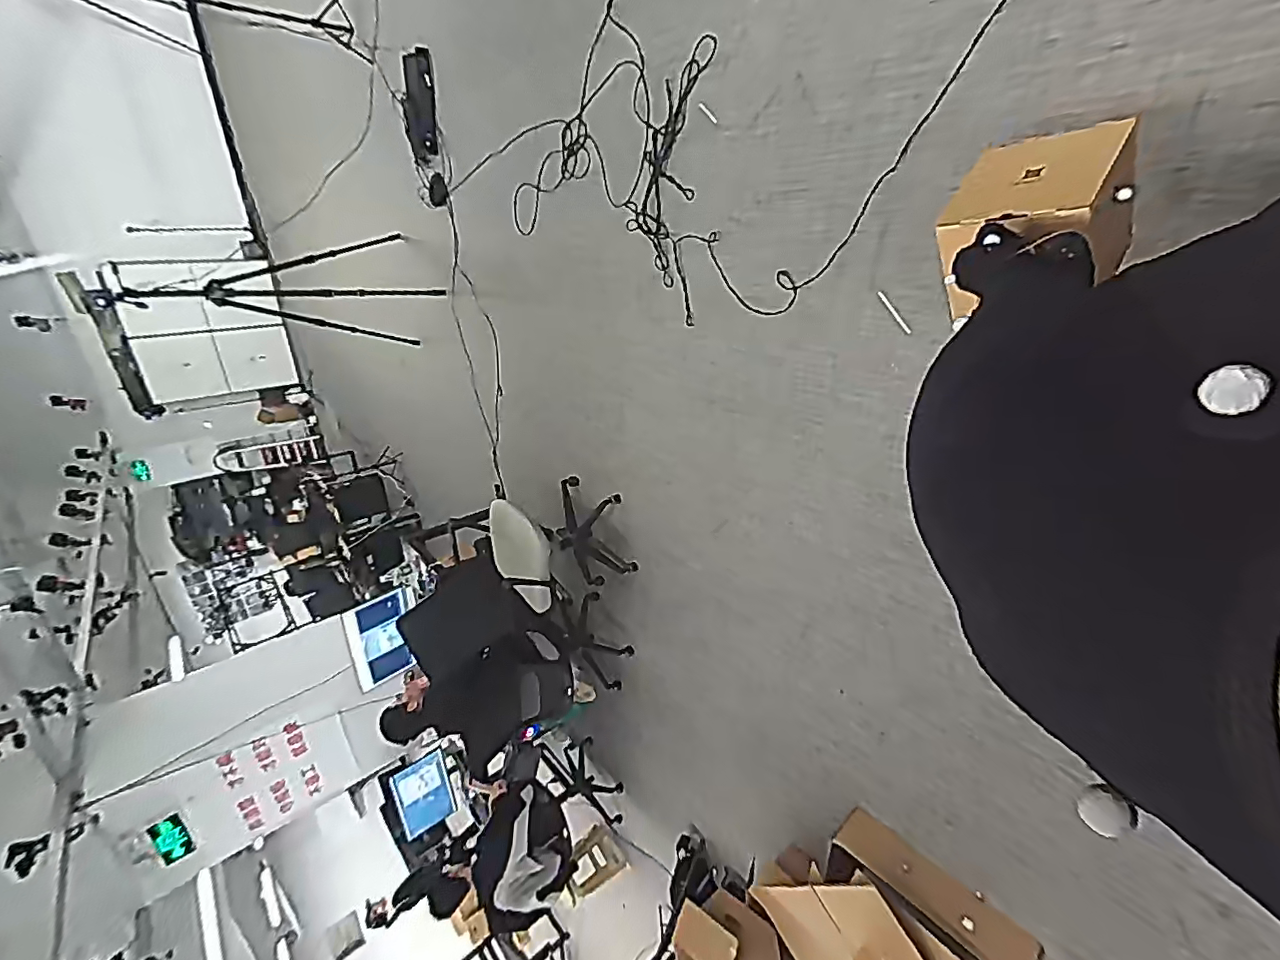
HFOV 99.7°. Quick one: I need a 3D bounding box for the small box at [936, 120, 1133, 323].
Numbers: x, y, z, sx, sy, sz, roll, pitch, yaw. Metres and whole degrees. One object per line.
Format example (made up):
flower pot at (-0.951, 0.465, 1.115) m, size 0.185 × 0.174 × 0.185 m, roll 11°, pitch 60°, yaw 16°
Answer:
small box at (0.533, -0.337, 0.735) m, size 0.168 × 0.179 × 0.176 m, roll 17°, pitch 154°, yaw 47°
